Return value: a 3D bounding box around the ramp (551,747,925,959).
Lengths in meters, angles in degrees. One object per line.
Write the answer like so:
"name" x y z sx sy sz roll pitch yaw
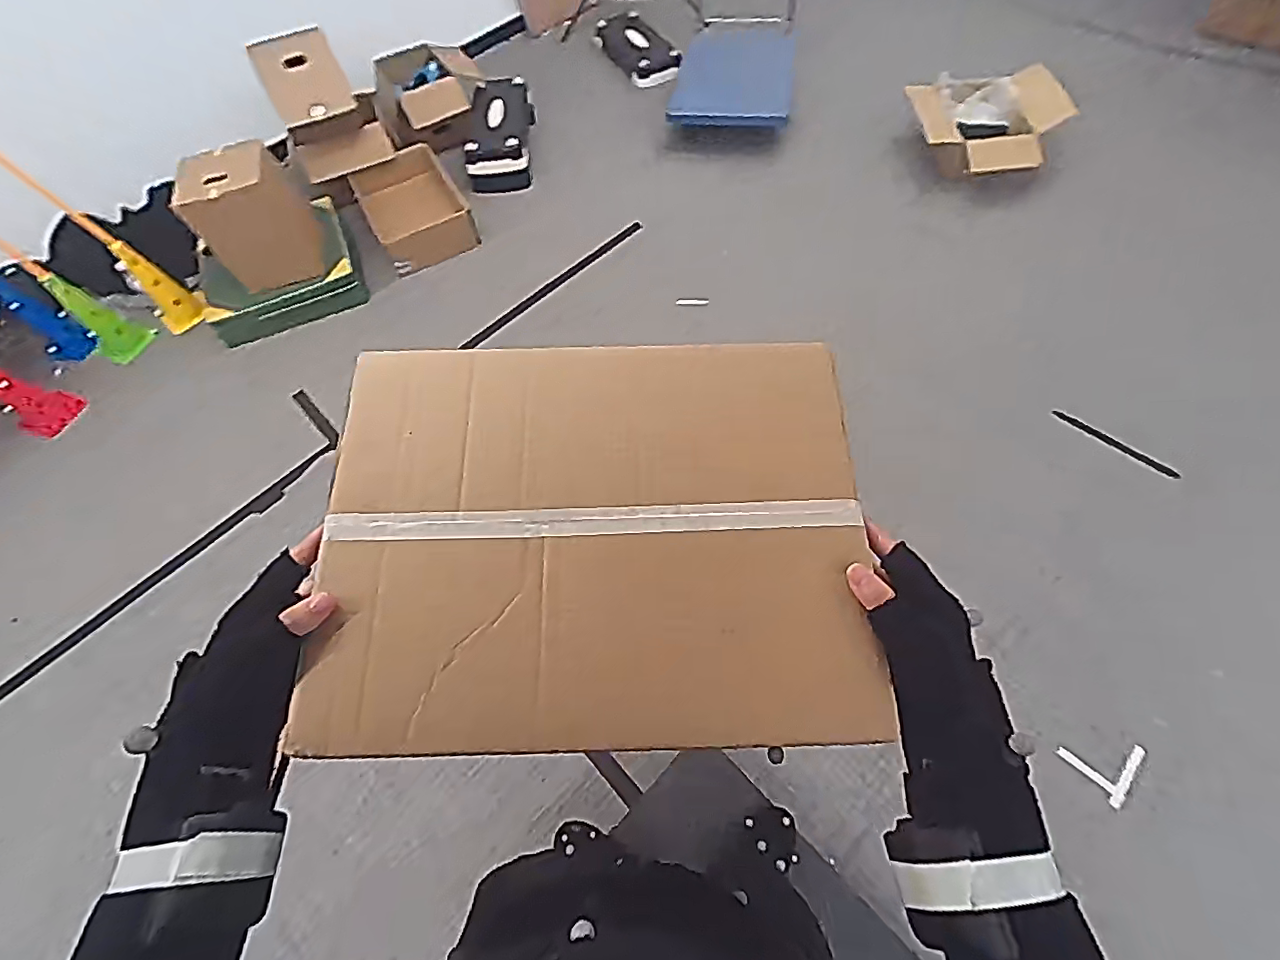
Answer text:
"ramp" 0.325 1.077 1.129 0.991 0.206 0.509 39 70 22

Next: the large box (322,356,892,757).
"large box" -0.024 0.092 0.563 0.408 0.320 0.320 -1 69 0
